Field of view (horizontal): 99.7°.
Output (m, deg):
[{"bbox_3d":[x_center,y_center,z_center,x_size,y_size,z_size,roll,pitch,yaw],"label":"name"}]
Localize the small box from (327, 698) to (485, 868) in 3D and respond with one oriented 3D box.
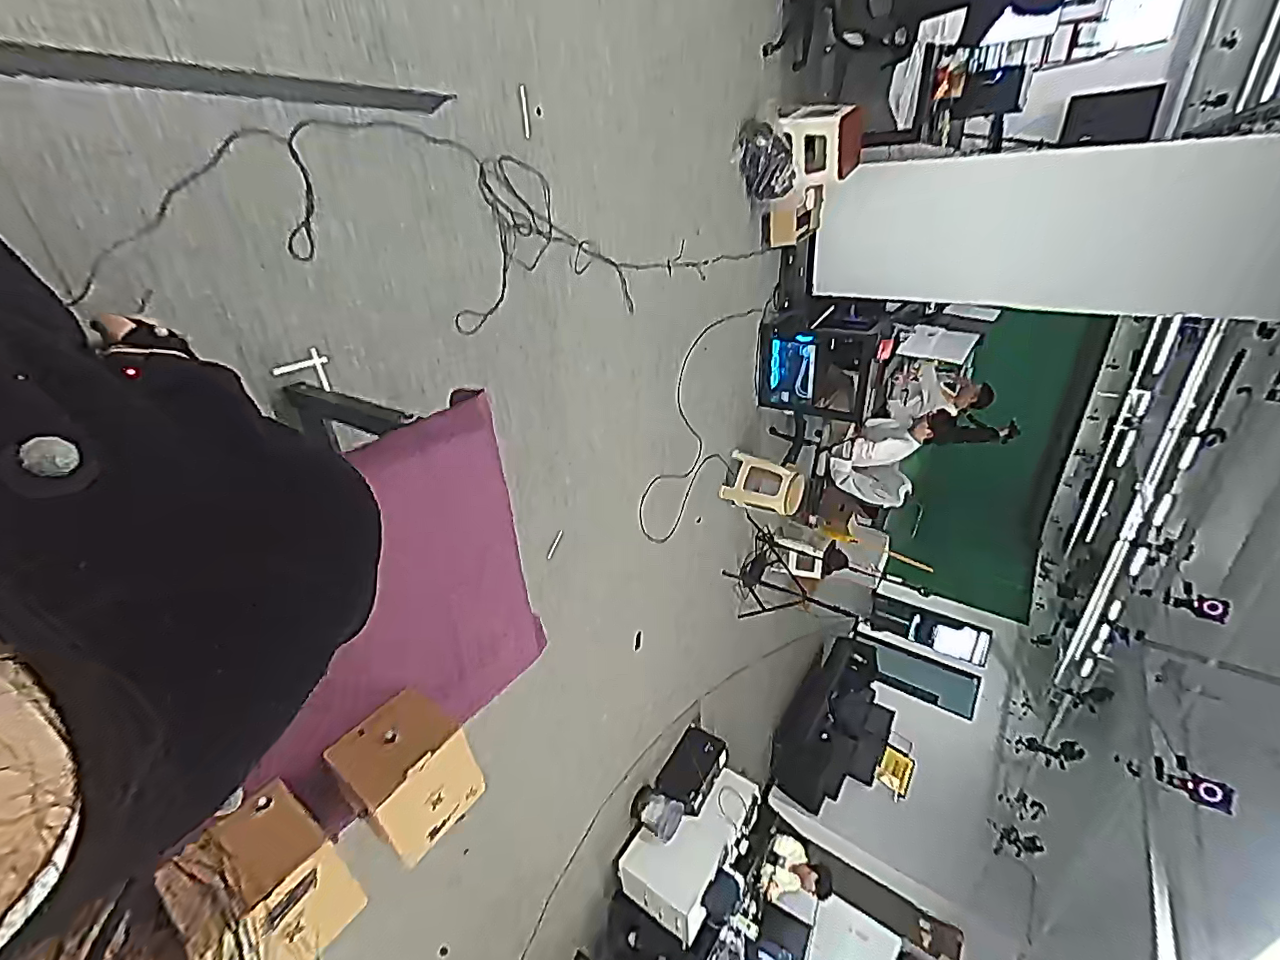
[{"bbox_3d":[-0.406,0.511,0.943,0.168,0.176,0.179,-37,130,-43],"label":"small box"}]
